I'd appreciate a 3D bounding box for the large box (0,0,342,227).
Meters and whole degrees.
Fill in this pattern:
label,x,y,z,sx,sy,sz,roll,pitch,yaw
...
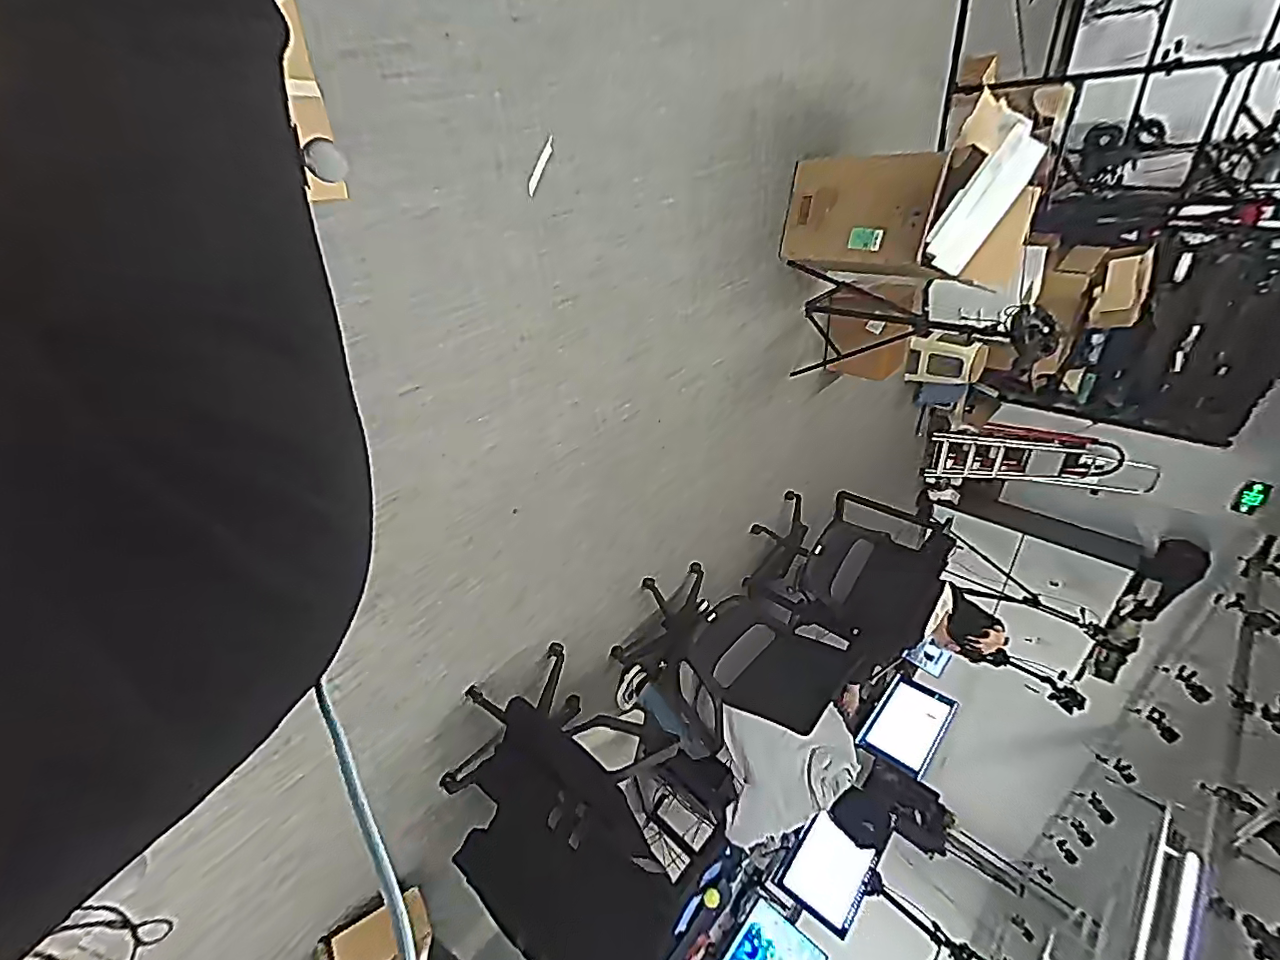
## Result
label,x,y,z,sx,sy,sz,roll,pitch,yaw
large box,-0.768,-0.583,0.830,0.408,0.320,0.320,-31,130,-39
